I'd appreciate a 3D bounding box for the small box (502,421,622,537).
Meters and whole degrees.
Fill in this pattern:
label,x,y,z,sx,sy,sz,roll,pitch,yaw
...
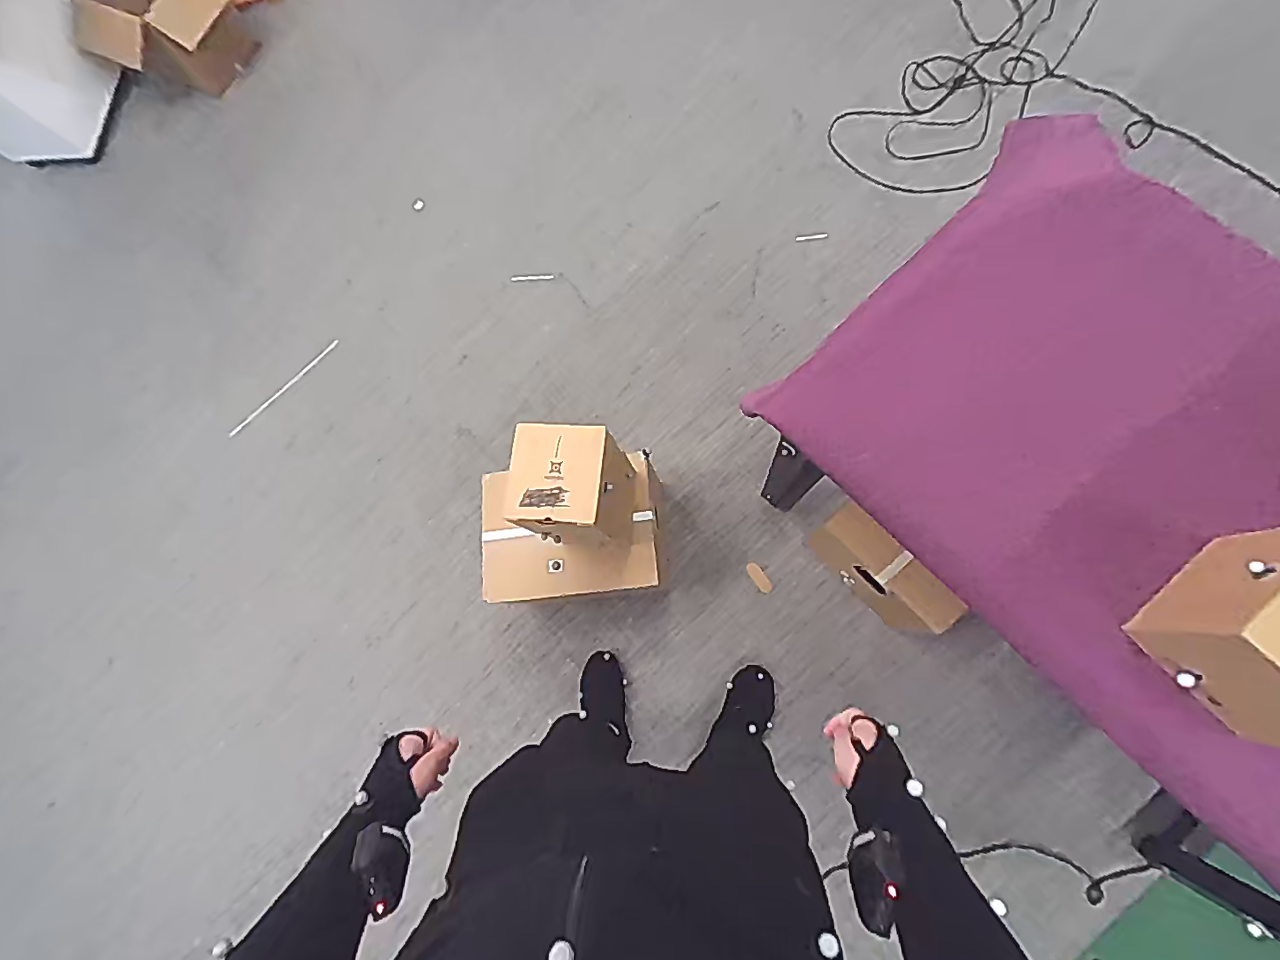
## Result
label,x,y,z,sx,sy,sz,roll,pitch,yaw
small box,-0.133,0.005,0.989,0.168,0.176,0.179,3,76,10

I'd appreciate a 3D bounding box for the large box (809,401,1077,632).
label,x,y,z,sx,sy,sz,roll,pitch,yaw
large box,0.666,0.103,1.266,0.408,0.320,0.320,-42,75,-3

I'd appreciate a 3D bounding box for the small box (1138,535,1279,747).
label,x,y,z,sx,sy,sz,roll,pitch,yaw
small box,0.693,0.164,0.560,0.179,0.176,0.168,-41,73,-3
